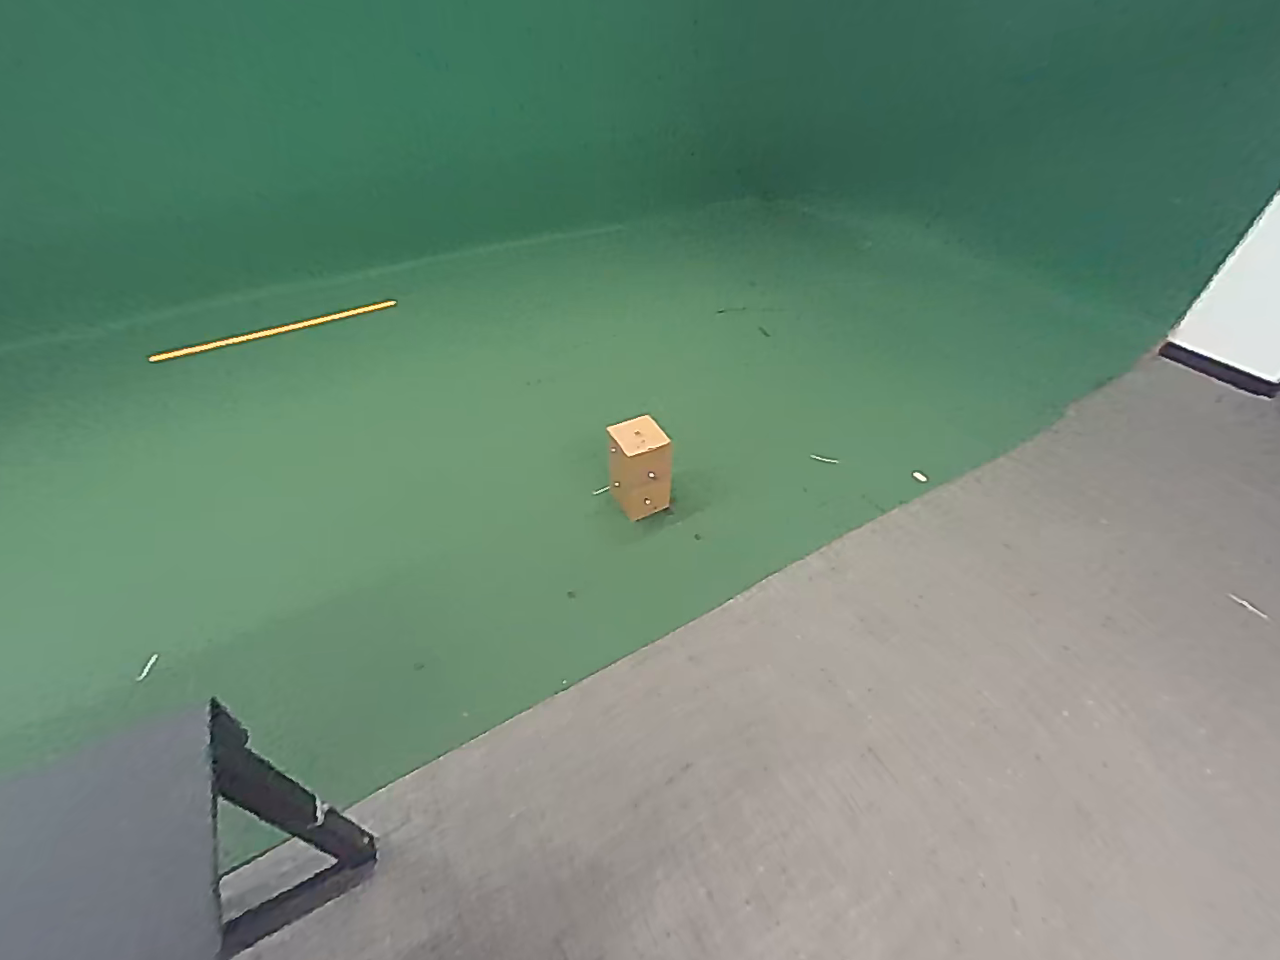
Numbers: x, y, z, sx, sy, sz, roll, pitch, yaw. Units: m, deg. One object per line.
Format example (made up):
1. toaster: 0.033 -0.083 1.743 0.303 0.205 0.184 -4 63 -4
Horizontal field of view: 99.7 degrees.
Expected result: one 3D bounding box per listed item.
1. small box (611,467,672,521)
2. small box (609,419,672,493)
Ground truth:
1. small box: 0.009 0.033 2.025 0.168 0.176 0.179 -23 47 -20
2. small box: 0.001 -0.084 1.909 0.168 0.176 0.179 -21 47 -18
